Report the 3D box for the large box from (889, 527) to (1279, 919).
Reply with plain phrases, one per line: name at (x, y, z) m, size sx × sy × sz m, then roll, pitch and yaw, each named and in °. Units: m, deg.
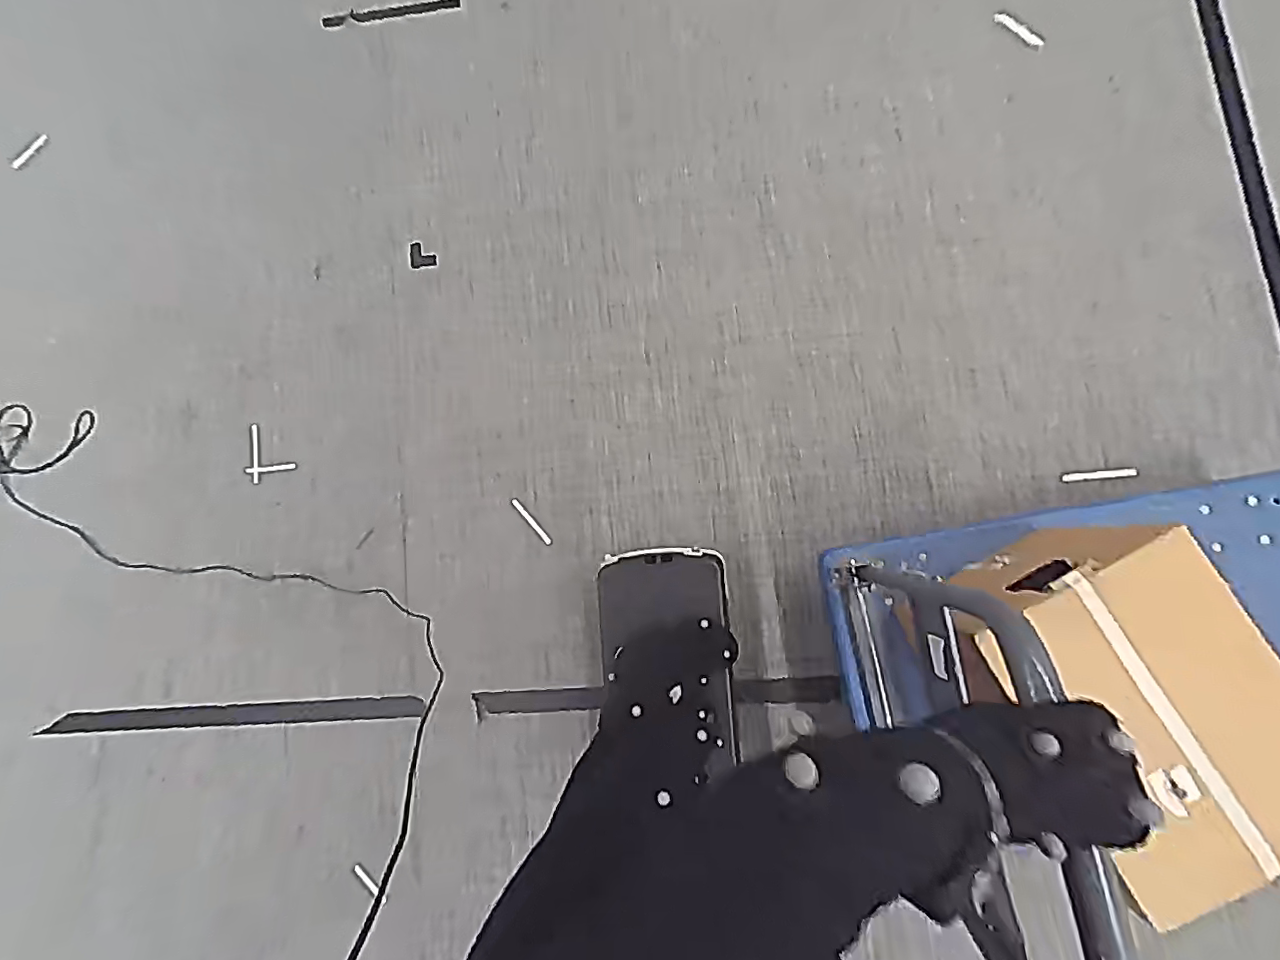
large box at (0.678, 0.321, 0.843) m, size 0.320 × 0.320 × 0.408 m, roll -30°, pitch 82°, yaw 2°
